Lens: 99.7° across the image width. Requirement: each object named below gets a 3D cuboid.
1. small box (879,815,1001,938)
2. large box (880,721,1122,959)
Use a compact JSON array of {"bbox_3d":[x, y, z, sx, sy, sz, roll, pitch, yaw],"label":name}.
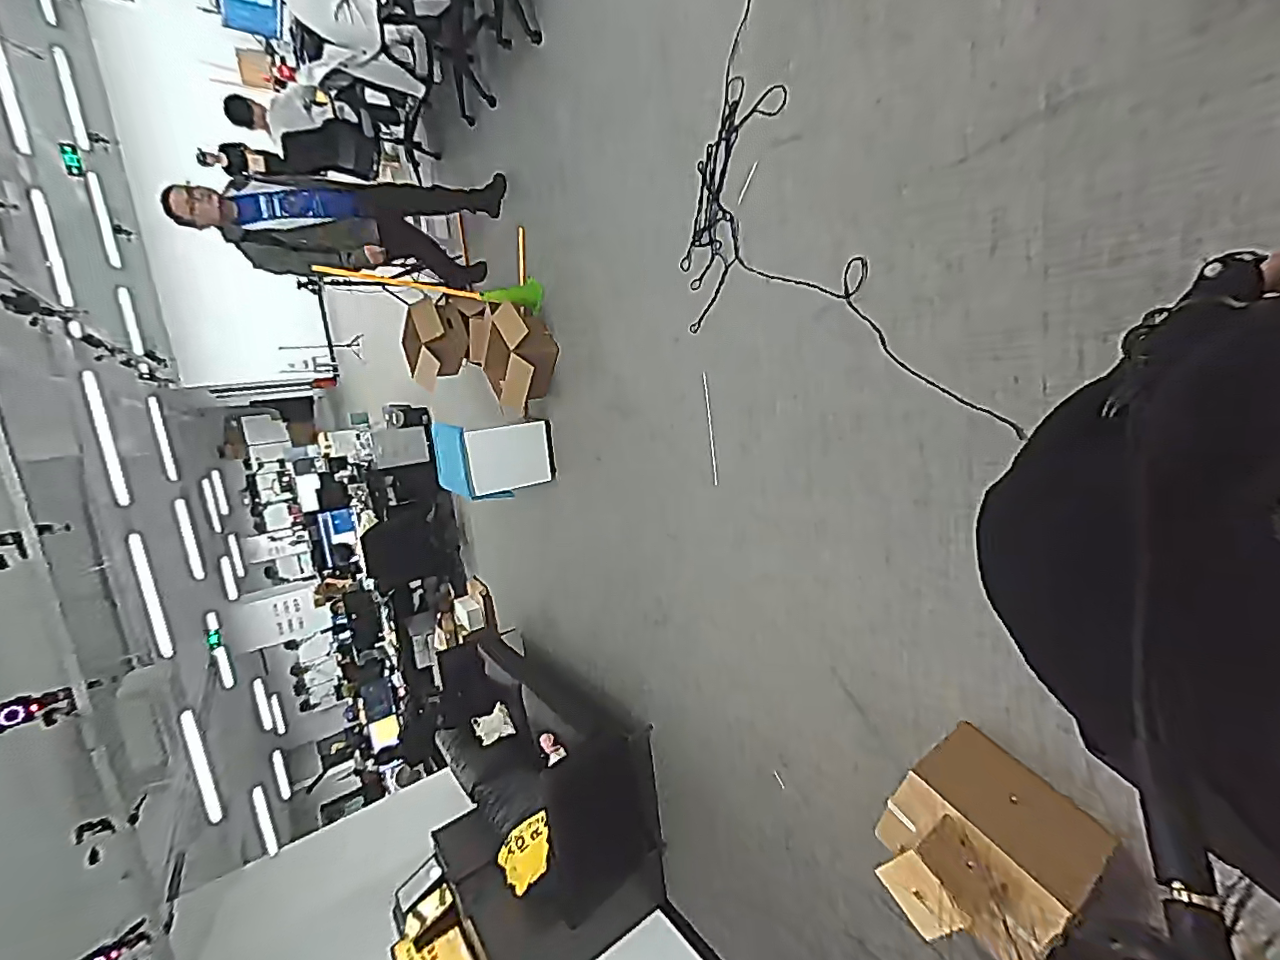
[{"bbox_3d":[0.745,0.980,1.342,0.168,0.176,0.179,51,137,34],"label":"small box"},{"bbox_3d":[0.956,0.961,1.469,0.408,0.320,0.320,37,131,43],"label":"large box"}]
